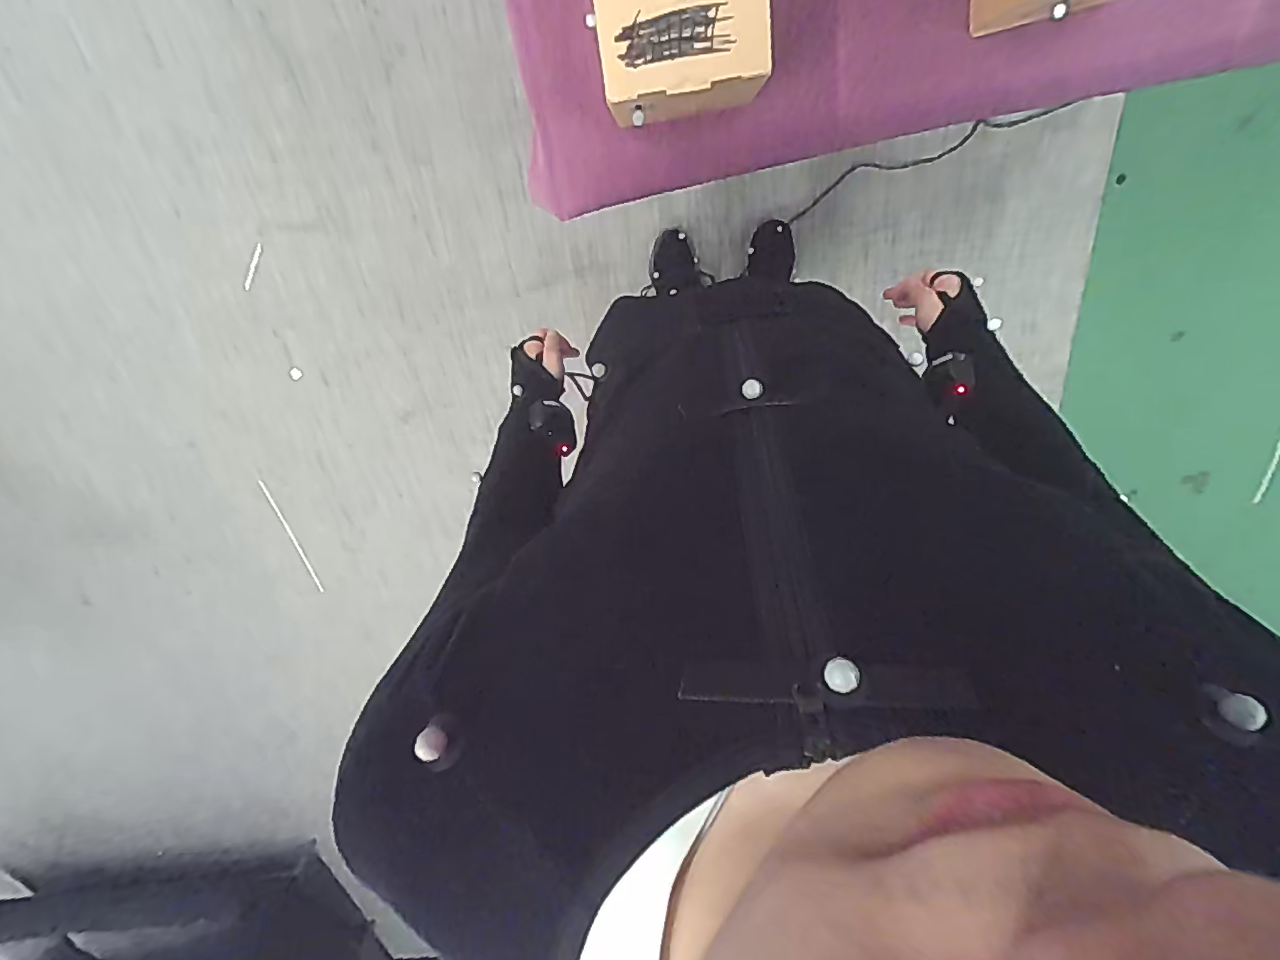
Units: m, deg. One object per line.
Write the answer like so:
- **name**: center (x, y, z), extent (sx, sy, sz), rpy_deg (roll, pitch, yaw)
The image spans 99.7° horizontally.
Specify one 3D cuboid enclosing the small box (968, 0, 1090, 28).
- **small box**: center (0.441, -0.582, 0.517), extent (0.168, 0.176, 0.179), rpy_deg (-10, 116, 7)
